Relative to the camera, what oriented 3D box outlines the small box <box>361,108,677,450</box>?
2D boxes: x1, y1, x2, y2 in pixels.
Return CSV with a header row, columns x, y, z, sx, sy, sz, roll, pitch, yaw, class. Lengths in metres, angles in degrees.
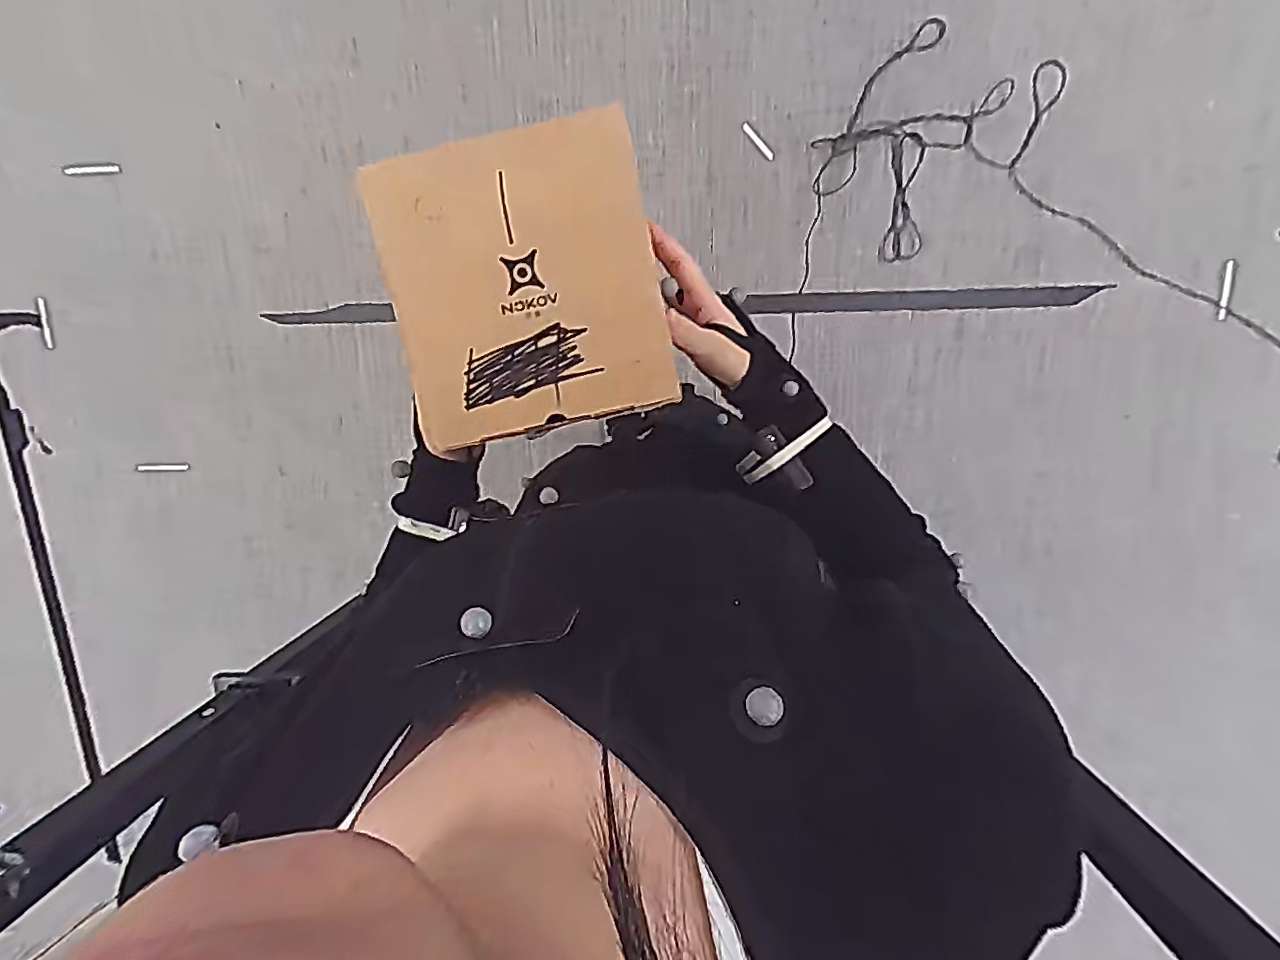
x,y,z,sx,sy,sz,roll,pitch,yaw,class
-0.068,-0.133,0.409,0.168,0.176,0.179,-11,100,2,small box
